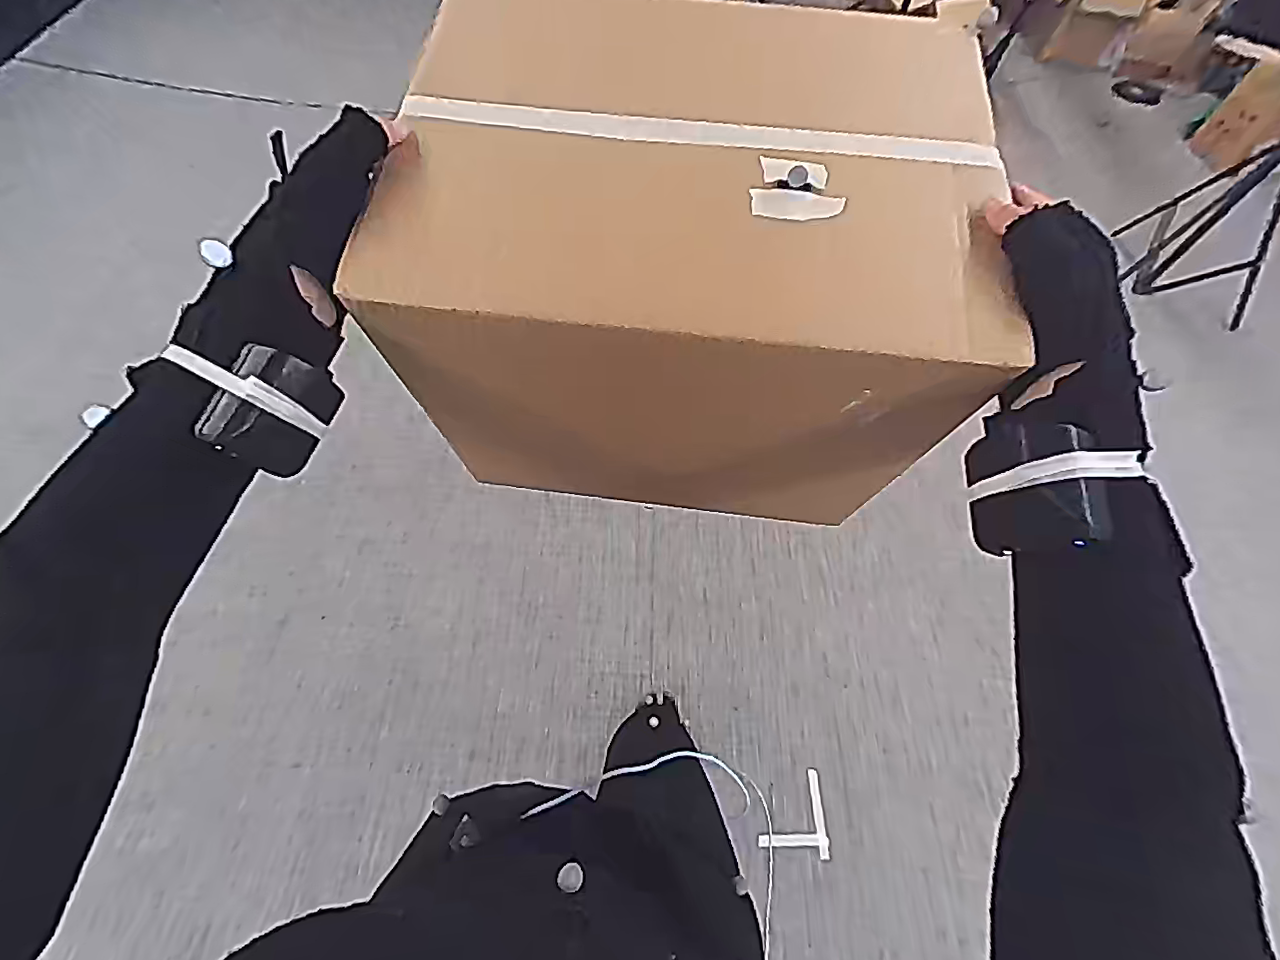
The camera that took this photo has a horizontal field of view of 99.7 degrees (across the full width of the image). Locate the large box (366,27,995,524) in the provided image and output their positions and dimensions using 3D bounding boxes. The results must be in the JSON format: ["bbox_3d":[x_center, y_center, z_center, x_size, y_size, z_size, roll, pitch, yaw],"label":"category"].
[{"bbox_3d":[0.033,-0.164,0.528,0.408,0.320,0.320,7,69,1],"label":"large box"}]
